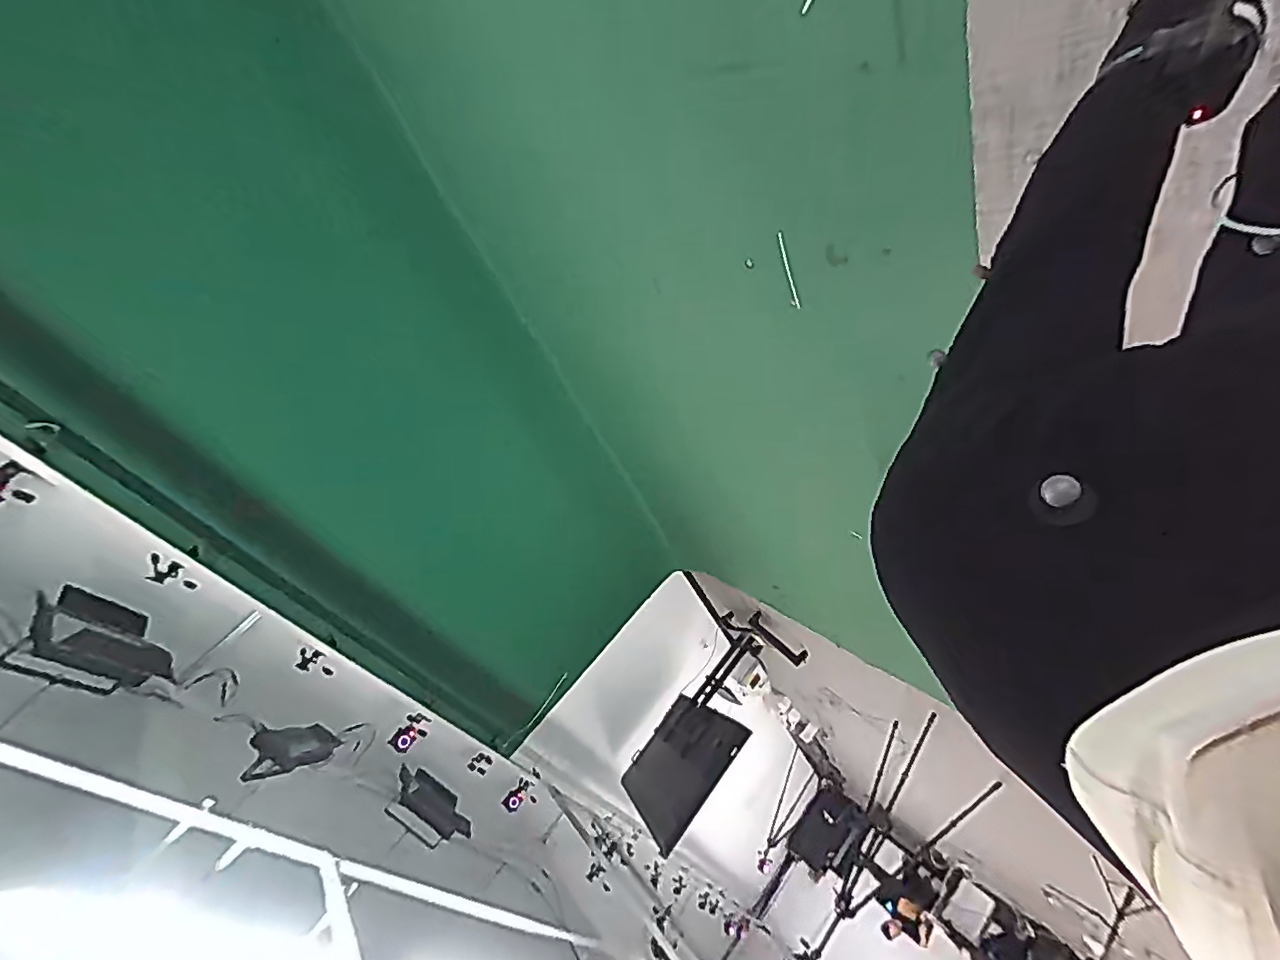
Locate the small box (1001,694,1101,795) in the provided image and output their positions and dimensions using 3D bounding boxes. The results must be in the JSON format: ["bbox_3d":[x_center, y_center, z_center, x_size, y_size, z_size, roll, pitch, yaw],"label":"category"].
[{"bbox_3d":[1.155,0.733,1.525,0.179,0.176,0.168,22,153,48],"label":"small box"}]

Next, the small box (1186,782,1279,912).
[{"bbox_3d":[1.396,0.831,1.233,0.168,0.176,0.179,22,152,49],"label":"small box"}]
